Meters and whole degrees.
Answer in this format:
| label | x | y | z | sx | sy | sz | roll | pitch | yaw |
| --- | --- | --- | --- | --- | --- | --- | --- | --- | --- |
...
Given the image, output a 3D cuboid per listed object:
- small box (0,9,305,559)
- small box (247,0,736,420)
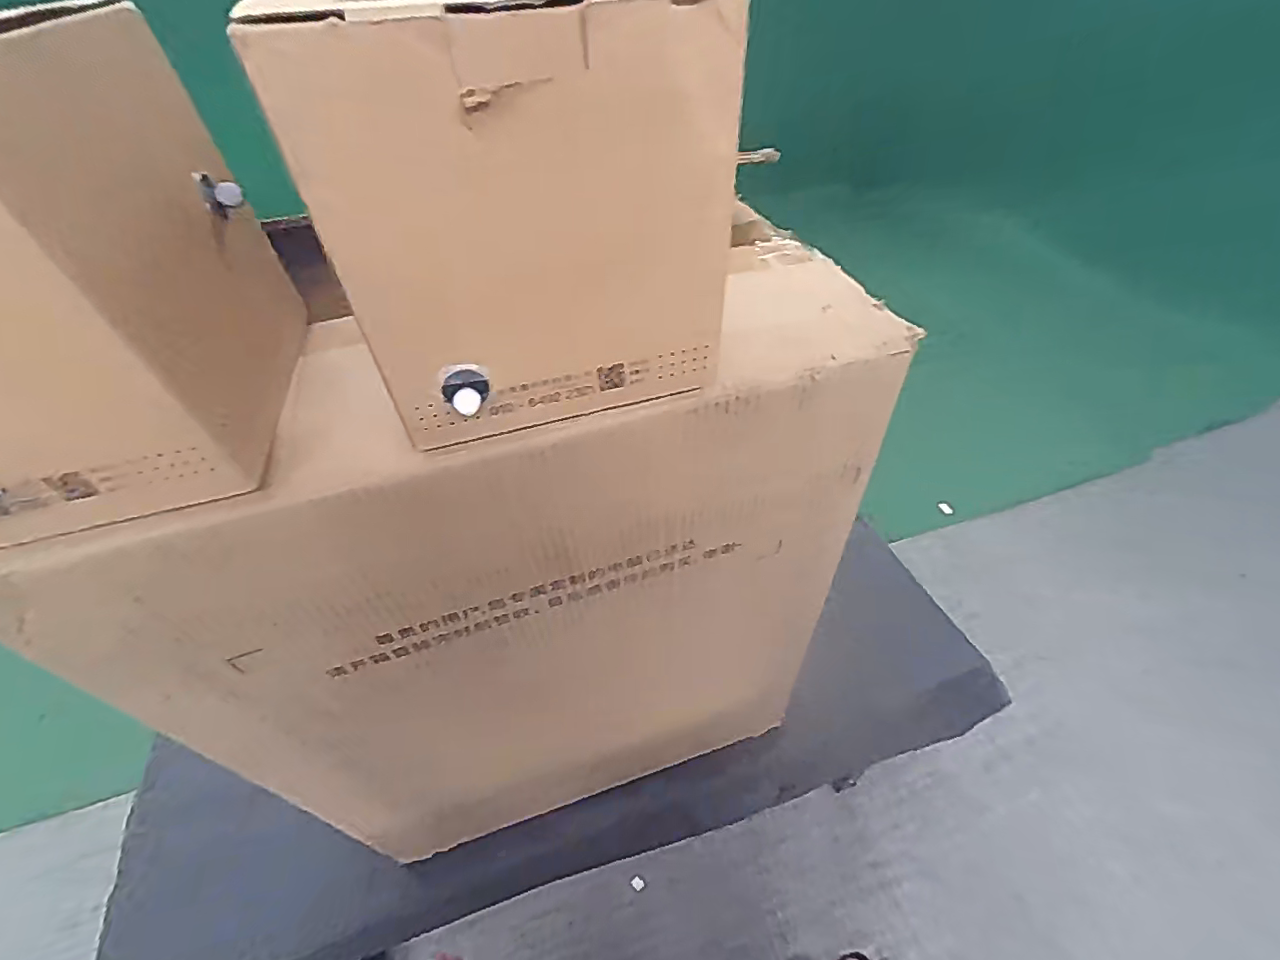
| label | x | y | z | sx | sy | sz | roll | pitch | yaw |
| --- | --- | --- | --- | --- | --- | --- | --- | --- | --- |
| small box | -0.282 | -0.087 | 0.244 | 0.168 | 0.176 | 0.179 | -16 | 48 | -9 |
| small box | -0.064 | -0.149 | 0.288 | 0.168 | 0.176 | 0.179 | -15 | 46 | -12 |
